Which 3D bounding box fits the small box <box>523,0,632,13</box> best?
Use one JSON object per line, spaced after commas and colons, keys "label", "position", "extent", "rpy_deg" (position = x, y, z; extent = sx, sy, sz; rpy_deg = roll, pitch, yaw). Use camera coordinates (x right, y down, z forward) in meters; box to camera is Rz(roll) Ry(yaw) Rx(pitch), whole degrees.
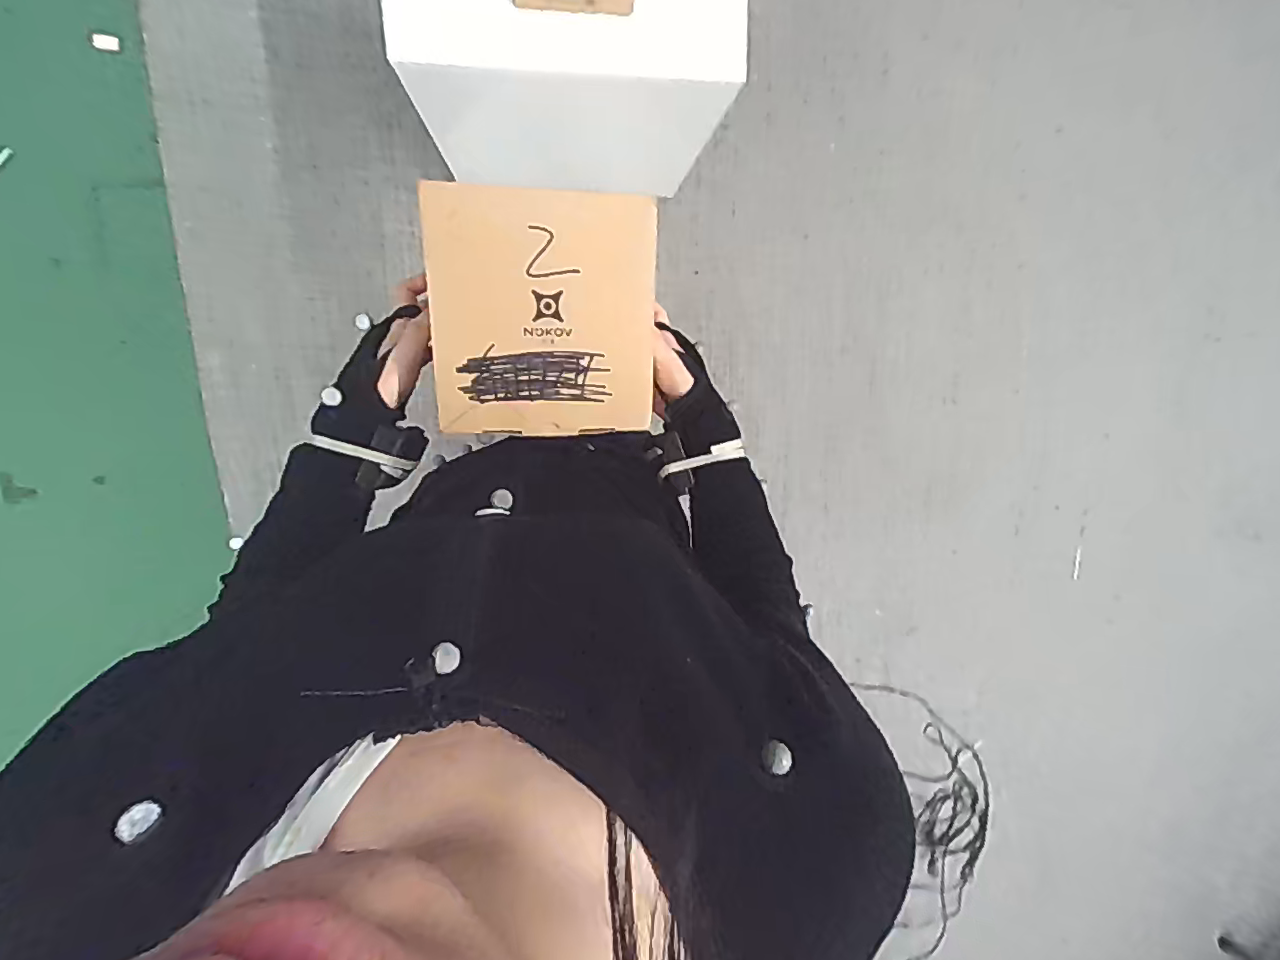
{"label": "small box", "position": [-0.082, -0.719, 0.648], "extent": [0.168, 0.176, 0.179], "rpy_deg": [-3, 101, -8]}
